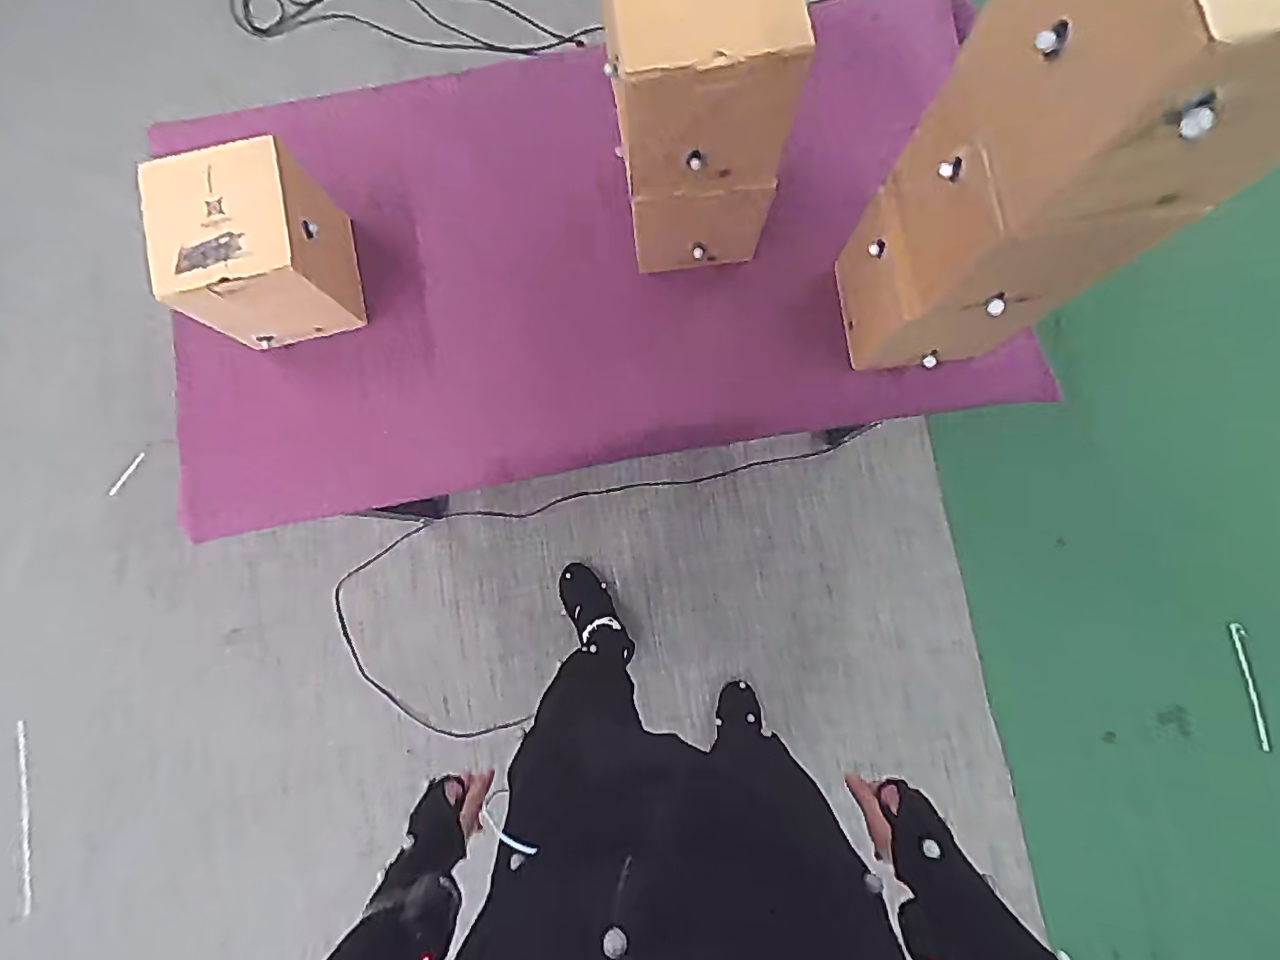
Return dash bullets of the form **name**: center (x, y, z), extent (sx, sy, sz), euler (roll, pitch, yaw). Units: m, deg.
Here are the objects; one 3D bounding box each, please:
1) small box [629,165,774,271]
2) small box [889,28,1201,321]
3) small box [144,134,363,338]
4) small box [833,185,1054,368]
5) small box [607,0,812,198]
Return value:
- **small box**: center (0.069, -0.405, 0.714), extent (0.168, 0.176, 0.179), euler (-6, 83, 1)
- **small box**: center (0.364, -0.278, 0.525), extent (0.168, 0.176, 0.179), euler (-6, 82, 3)
- **small box**: center (-0.492, -0.302, 0.713), extent (0.168, 0.176, 0.179), euler (-13, 82, -1)
- **small box**: center (0.367, -0.252, 0.687), extent (0.179, 0.176, 0.168), euler (-6, 82, 1)
- **small box**: center (0.057, -0.428, 0.554), extent (0.168, 0.176, 0.179), euler (-9, 84, 0)
